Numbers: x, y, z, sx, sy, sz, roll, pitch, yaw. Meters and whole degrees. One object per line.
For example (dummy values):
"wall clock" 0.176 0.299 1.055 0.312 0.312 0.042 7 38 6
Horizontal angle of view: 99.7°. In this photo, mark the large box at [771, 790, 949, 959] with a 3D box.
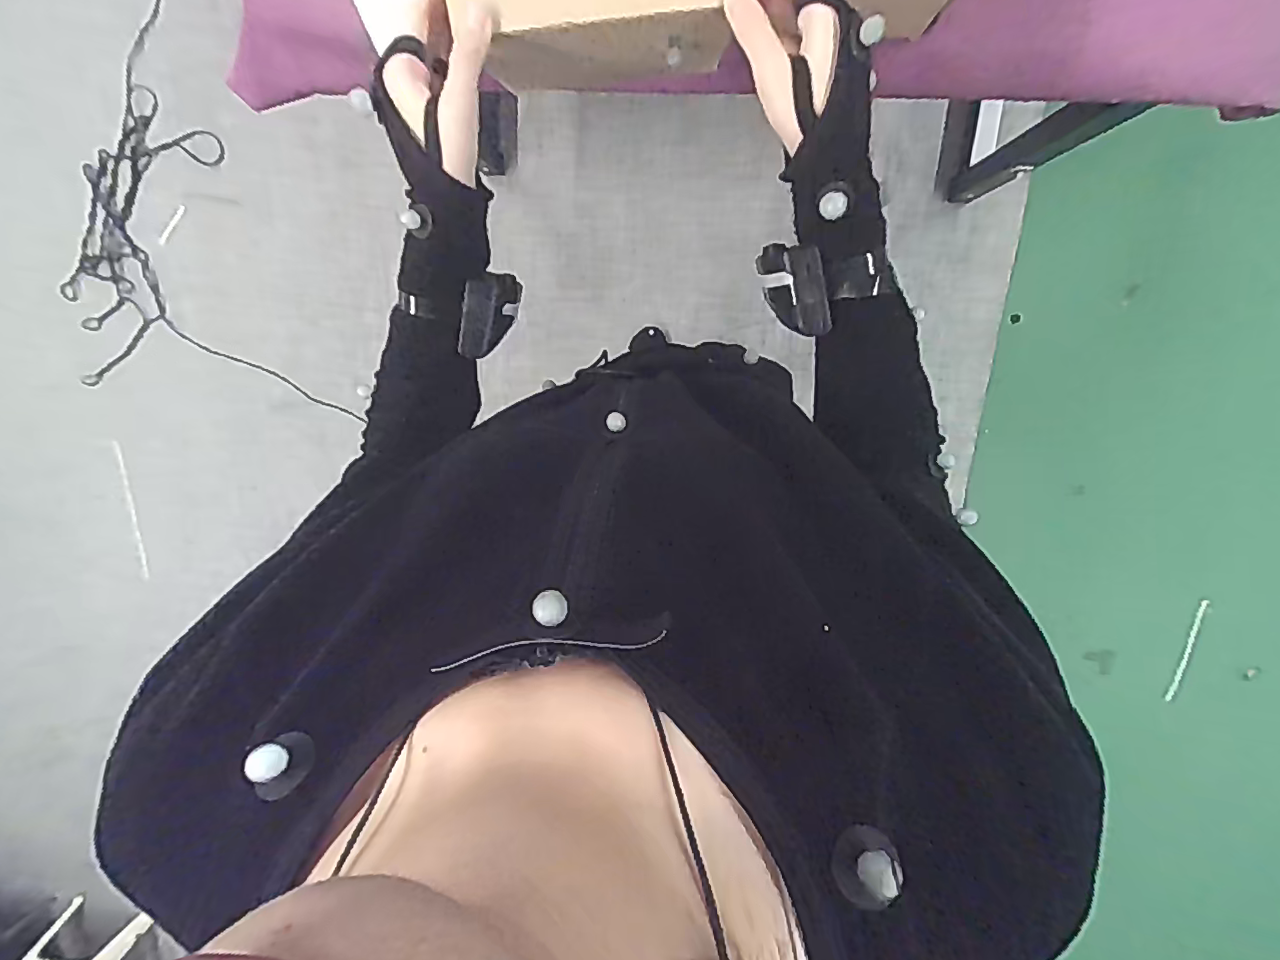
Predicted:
"large box" 0.636 1.190 1.618 0.408 0.320 0.320 -10 104 7
